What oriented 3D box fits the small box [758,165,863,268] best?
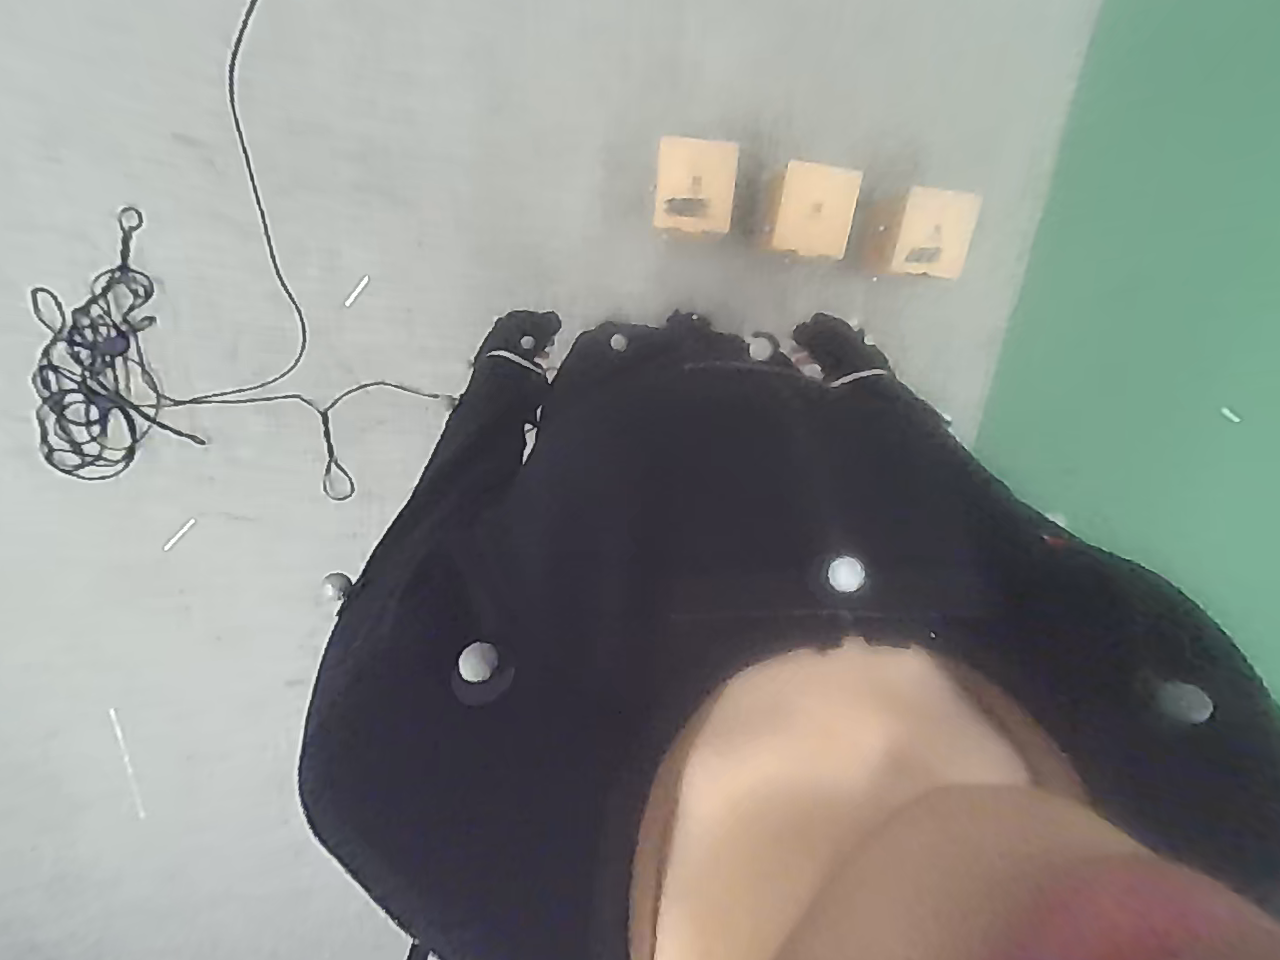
[{"bbox_3d":[0.379,-0.594,1.238,0.168,0.176,0.179,7,108,-4],"label":"small box"}]

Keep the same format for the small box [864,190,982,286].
[{"bbox_3d":[0.645,-0.553,1.259,0.168,0.176,0.179,6,107,-4],"label":"small box"}]
